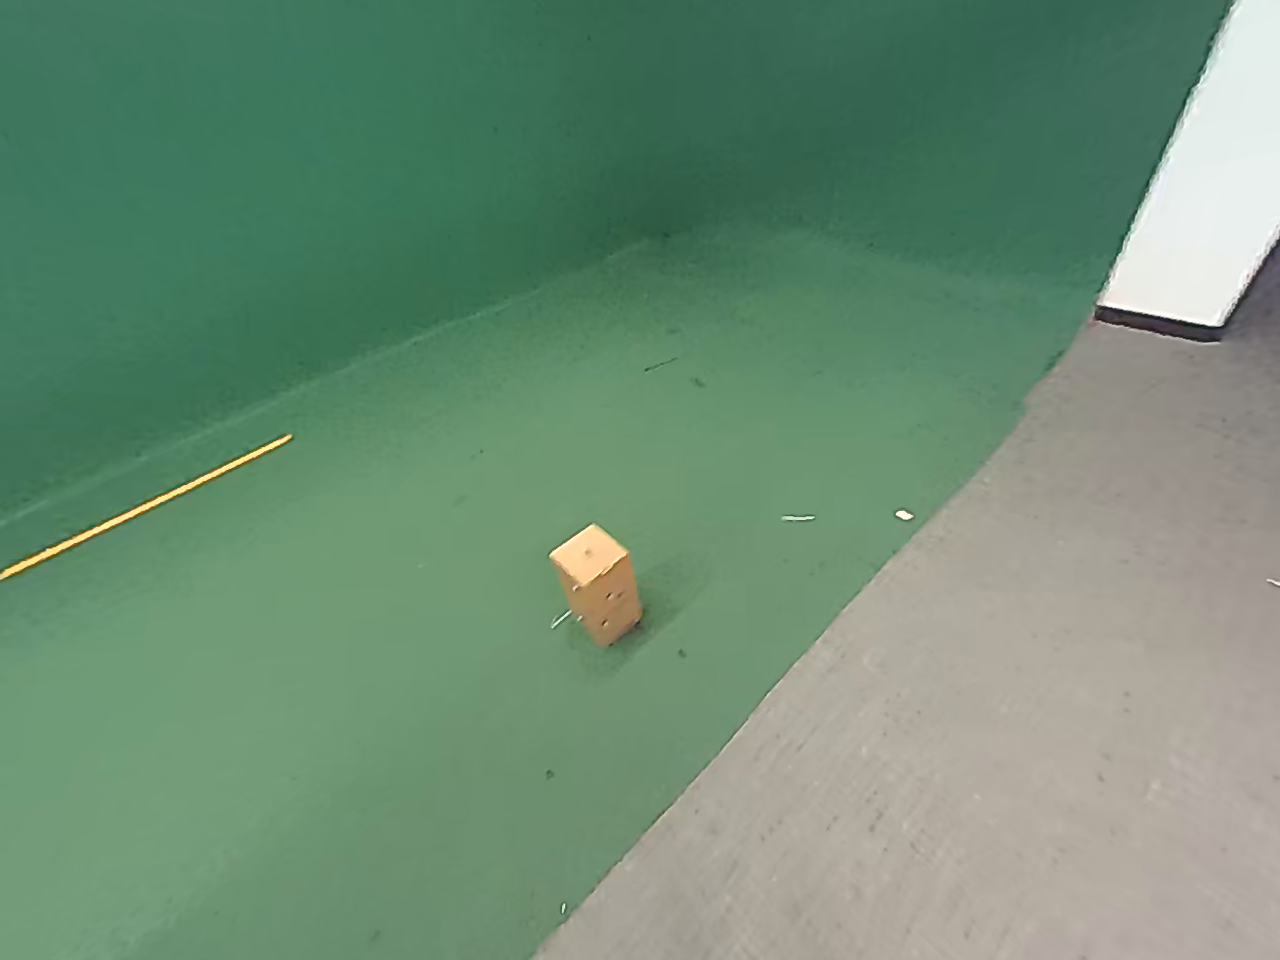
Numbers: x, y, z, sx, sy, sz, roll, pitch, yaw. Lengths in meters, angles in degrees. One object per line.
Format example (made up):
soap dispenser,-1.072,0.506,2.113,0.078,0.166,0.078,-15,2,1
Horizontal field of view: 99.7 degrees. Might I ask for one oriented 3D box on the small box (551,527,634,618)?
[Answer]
small box,-0.139,0.280,1.627,0.168,0.176,0.179,-34,47,-26
